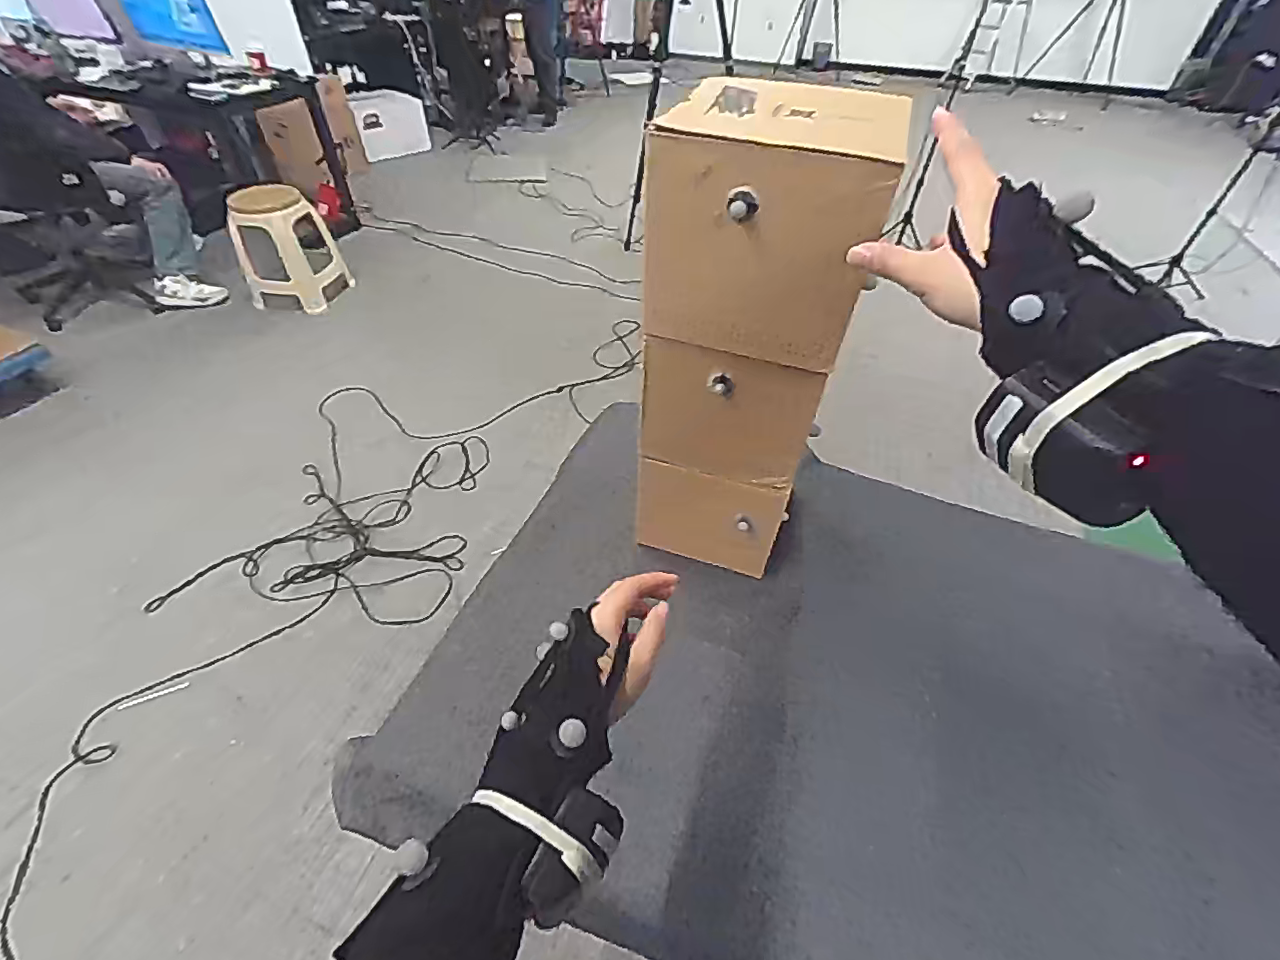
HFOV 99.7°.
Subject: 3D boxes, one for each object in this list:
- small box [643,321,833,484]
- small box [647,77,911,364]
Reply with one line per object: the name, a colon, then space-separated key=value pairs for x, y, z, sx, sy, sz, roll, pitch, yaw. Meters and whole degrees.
small box: x=0.107 y=-0.119 z=0.596 sx=0.179 sy=0.176 sz=0.168 roll=15 pitch=50 yaw=10
small box: x=0.111 y=-0.223 z=0.469 sx=0.179 sy=0.176 sz=0.168 roll=16 pitch=50 yaw=12
